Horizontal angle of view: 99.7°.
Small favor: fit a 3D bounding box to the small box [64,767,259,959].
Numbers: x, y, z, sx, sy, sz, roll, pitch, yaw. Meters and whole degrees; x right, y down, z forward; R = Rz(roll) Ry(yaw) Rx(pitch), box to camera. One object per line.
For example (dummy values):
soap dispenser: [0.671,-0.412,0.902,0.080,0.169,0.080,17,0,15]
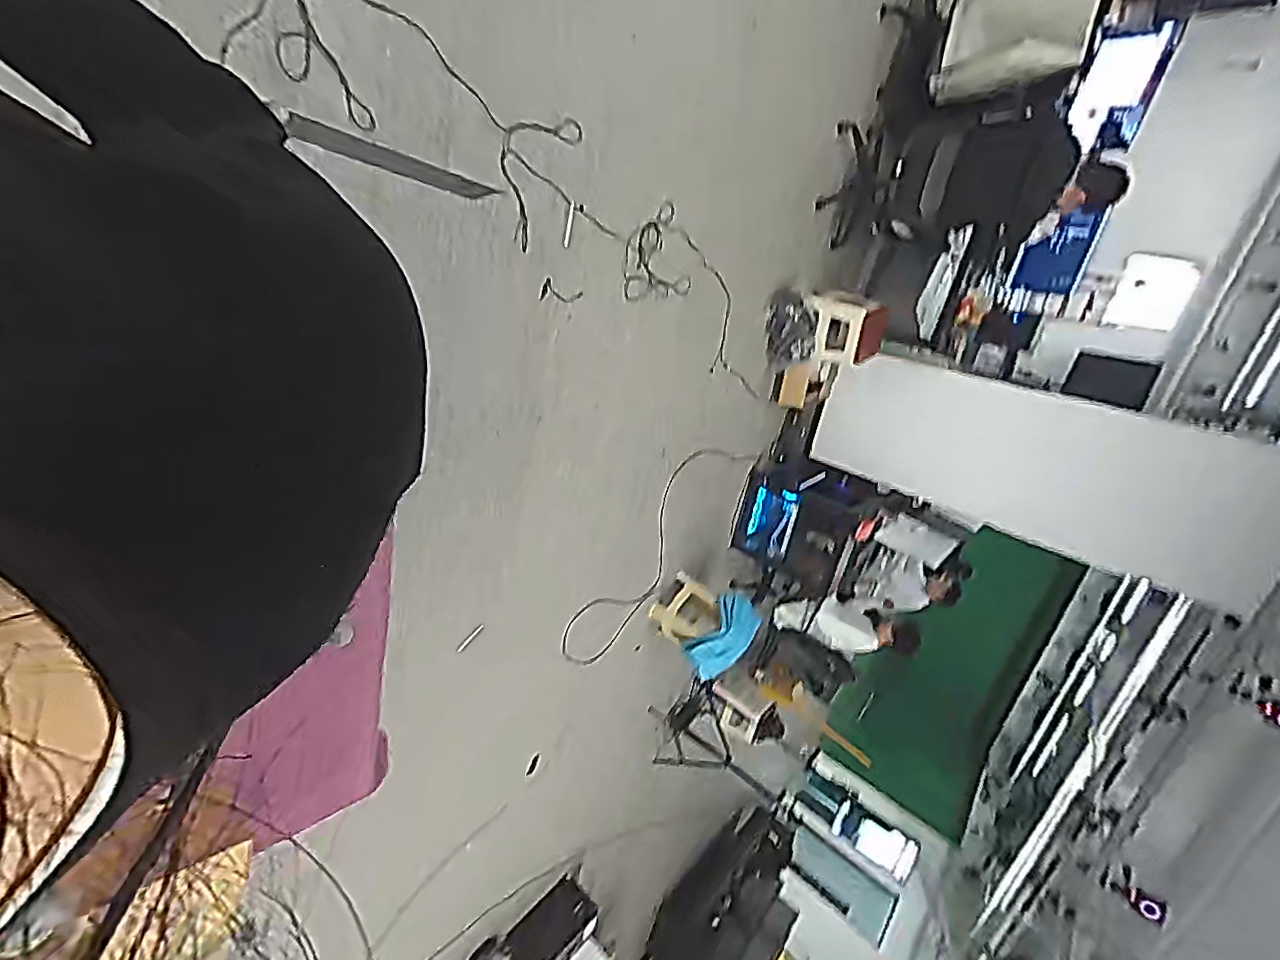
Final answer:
small box: [-0.649,0.540,0.734,0.168,0.176,0.179,-2,111,-53]
